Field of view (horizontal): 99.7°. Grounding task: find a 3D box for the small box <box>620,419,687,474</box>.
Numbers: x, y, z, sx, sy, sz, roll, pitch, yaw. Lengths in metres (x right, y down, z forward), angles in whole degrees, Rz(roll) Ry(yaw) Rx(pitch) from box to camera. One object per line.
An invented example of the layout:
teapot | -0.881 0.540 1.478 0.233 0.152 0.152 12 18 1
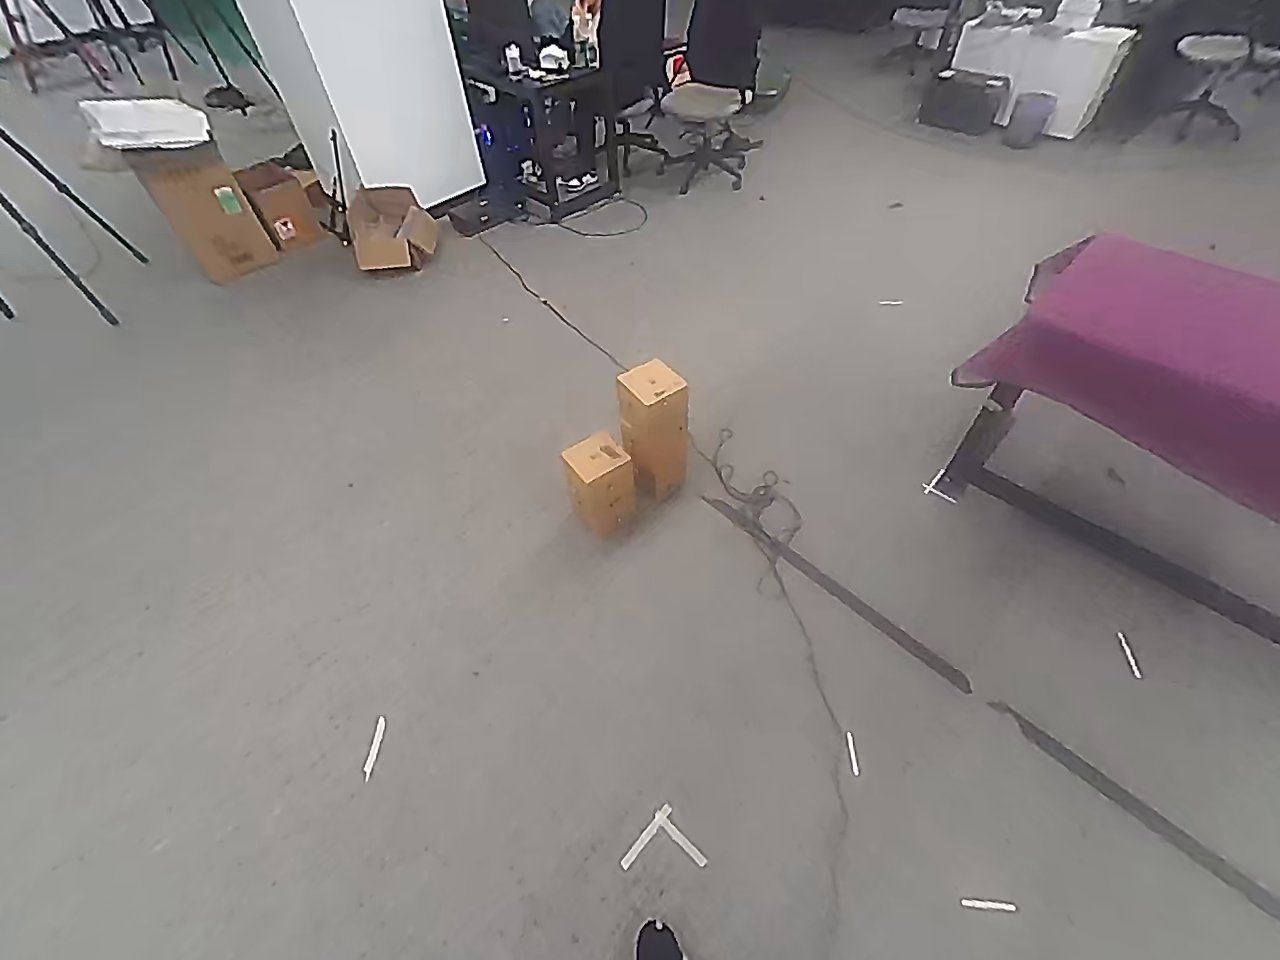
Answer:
small box | 0.054 -0.152 1.903 0.179 0.176 0.168 -37 57 -24

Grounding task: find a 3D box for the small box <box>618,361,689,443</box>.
small box | 0.045 -0.255 1.775 0.168 0.176 0.179 -30 54 -20

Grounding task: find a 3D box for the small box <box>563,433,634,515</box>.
small box | -0.133 -0.019 1.798 0.179 0.176 0.168 -31 55 -19

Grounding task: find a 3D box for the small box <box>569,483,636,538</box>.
small box | -0.130 0.074 1.934 0.168 0.176 0.179 -34 57 -22

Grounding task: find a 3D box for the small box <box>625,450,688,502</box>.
small box | 0.061 -0.049 2.028 0.168 0.176 0.179 -38 58 -25
